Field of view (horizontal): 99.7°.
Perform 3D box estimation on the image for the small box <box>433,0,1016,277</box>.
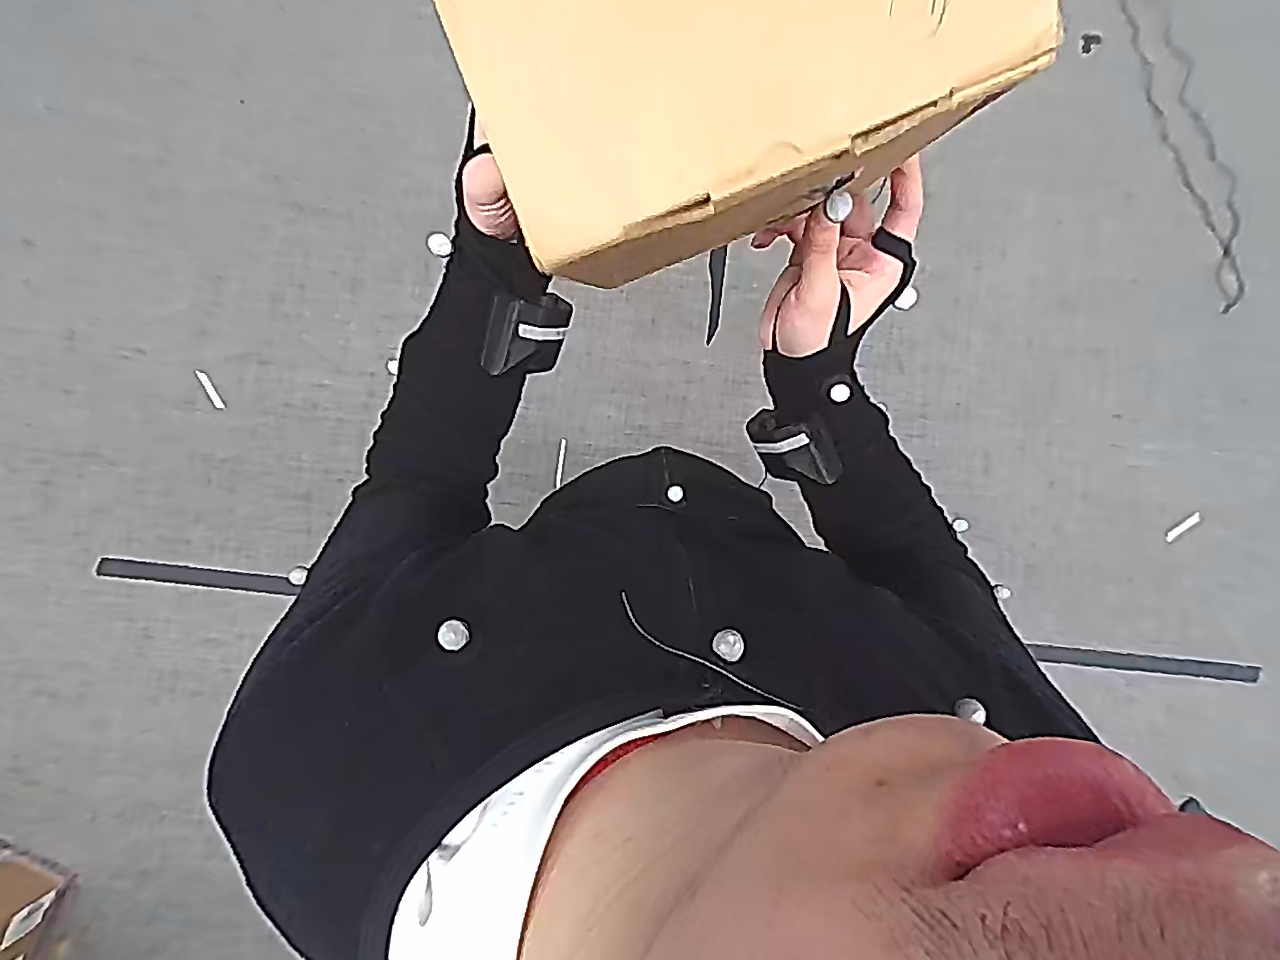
[{"bbox_3d":[0.017,-0.202,0.234,0.168,0.176,0.179,-19,105,10],"label":"small box"}]
